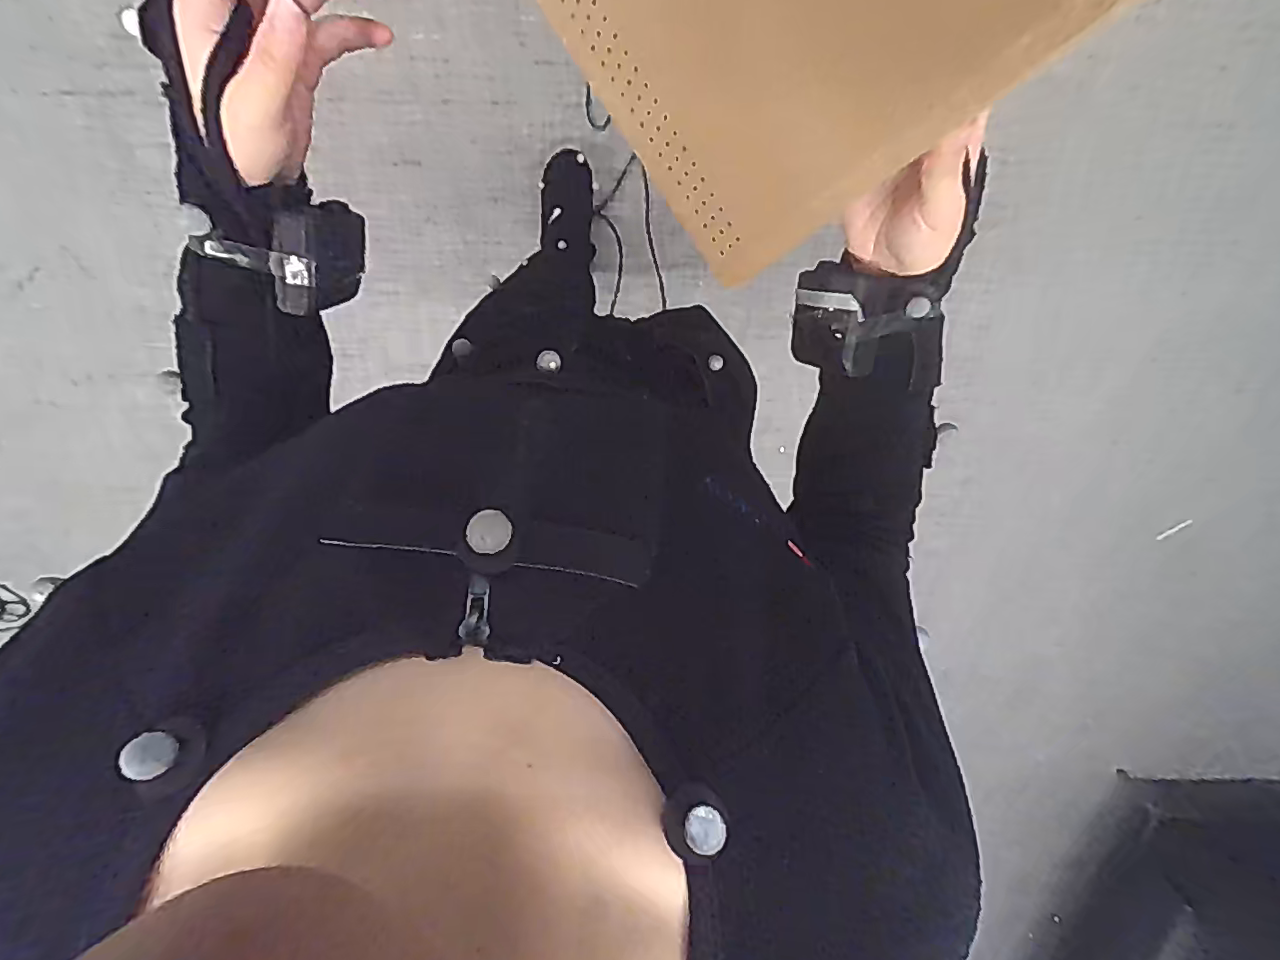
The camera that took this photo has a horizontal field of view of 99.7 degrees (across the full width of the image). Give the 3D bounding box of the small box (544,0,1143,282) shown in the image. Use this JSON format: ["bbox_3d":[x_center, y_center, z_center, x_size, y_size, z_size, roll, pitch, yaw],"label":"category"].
[{"bbox_3d":[0.076,-0.202,0.177,0.168,0.176,0.179,-41,101,-15],"label":"small box"}]
